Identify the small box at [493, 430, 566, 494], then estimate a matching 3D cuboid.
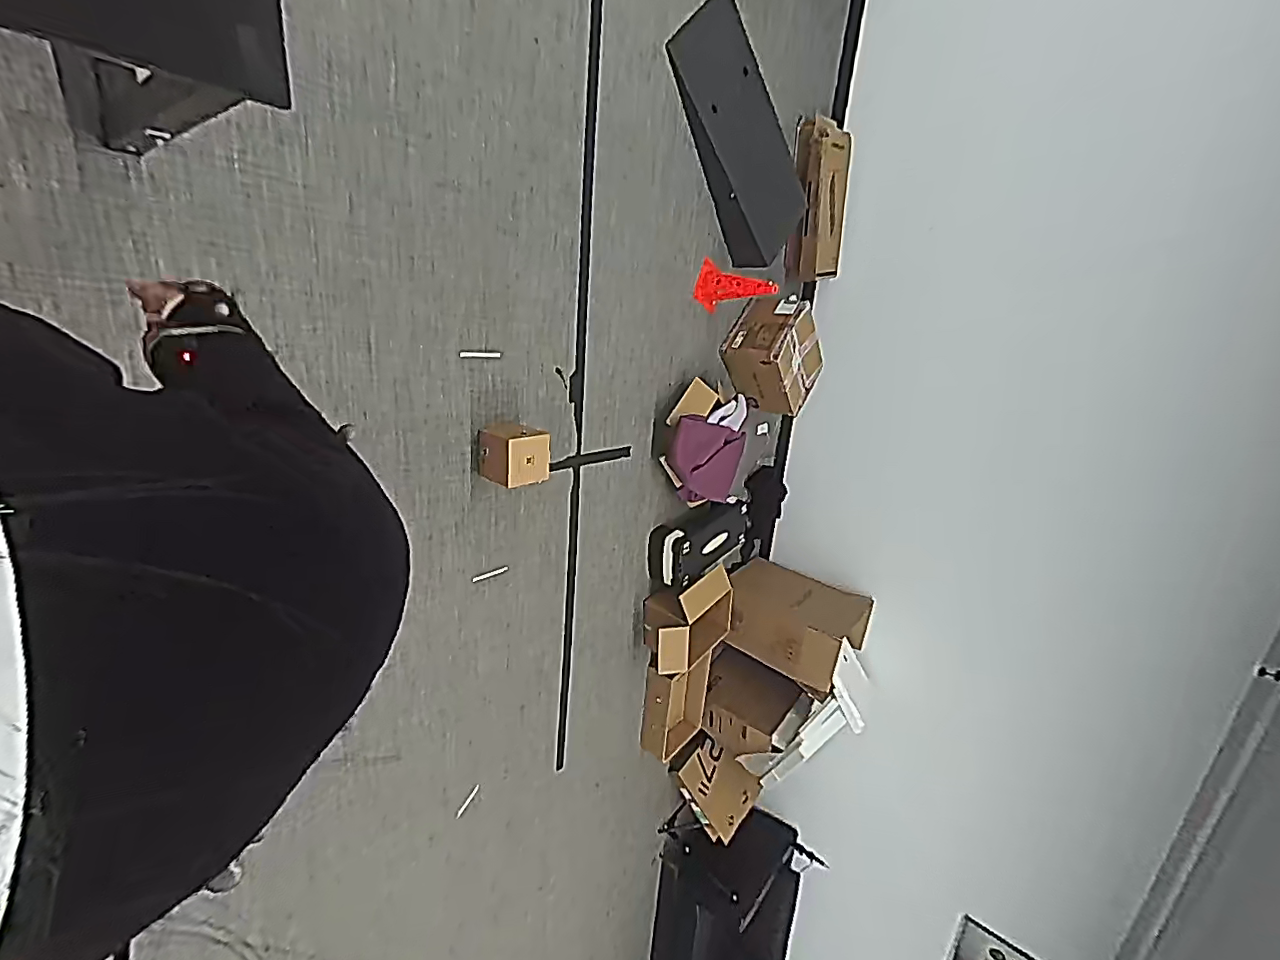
[{"bbox_3d":[-0.369,-0.068,1.811,0.179,0.176,0.168,-16,117,-48],"label":"small box"}]
